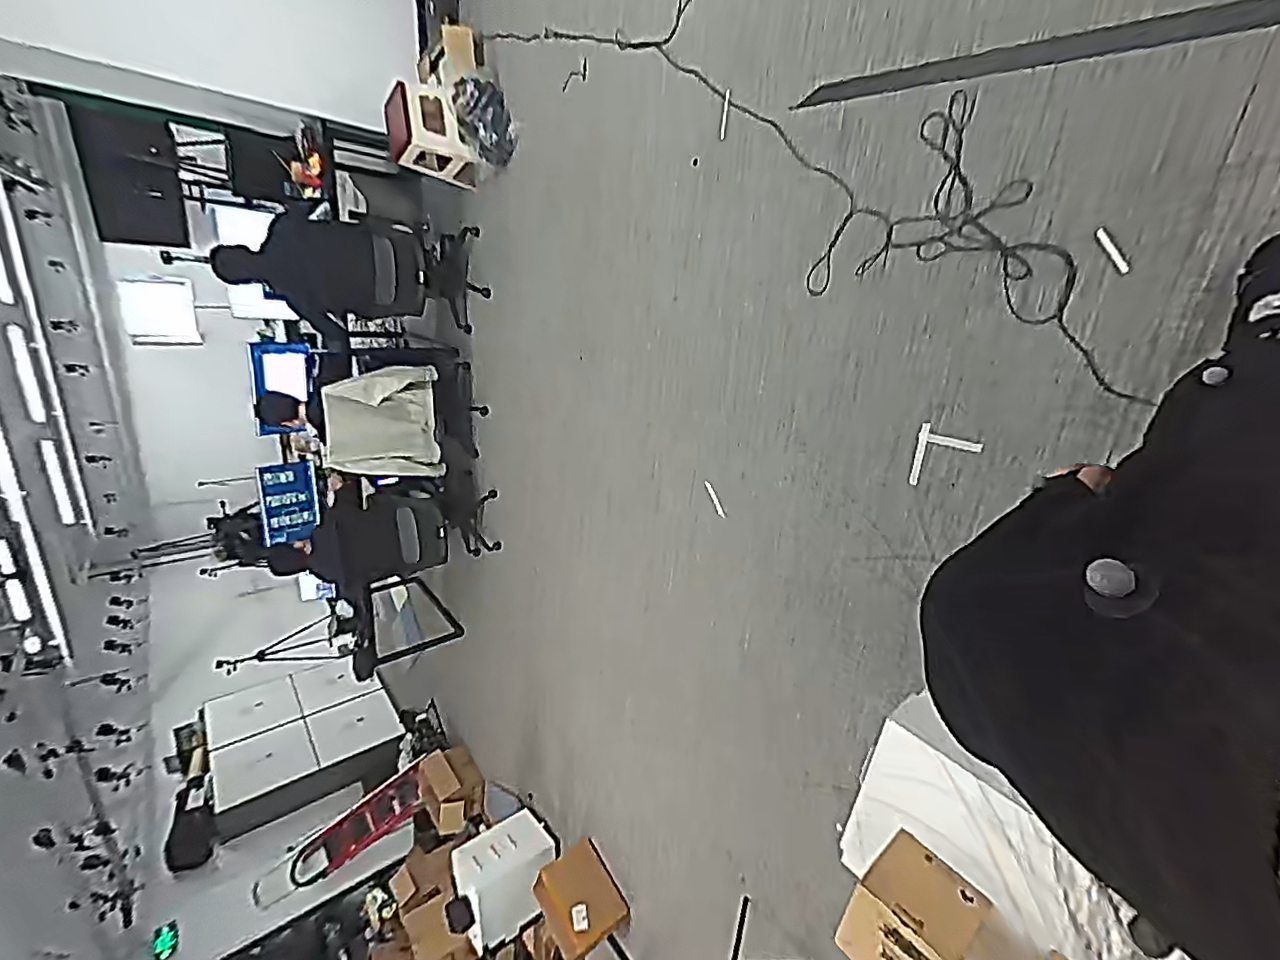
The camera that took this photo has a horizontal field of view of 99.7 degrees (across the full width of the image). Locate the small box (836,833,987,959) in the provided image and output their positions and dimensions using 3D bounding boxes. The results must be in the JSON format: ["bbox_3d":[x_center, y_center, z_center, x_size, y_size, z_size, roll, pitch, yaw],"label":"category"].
[{"bbox_3d":[0.483,0.783,0.959,0.168,0.176,0.179,29,121,43],"label":"small box"}]
